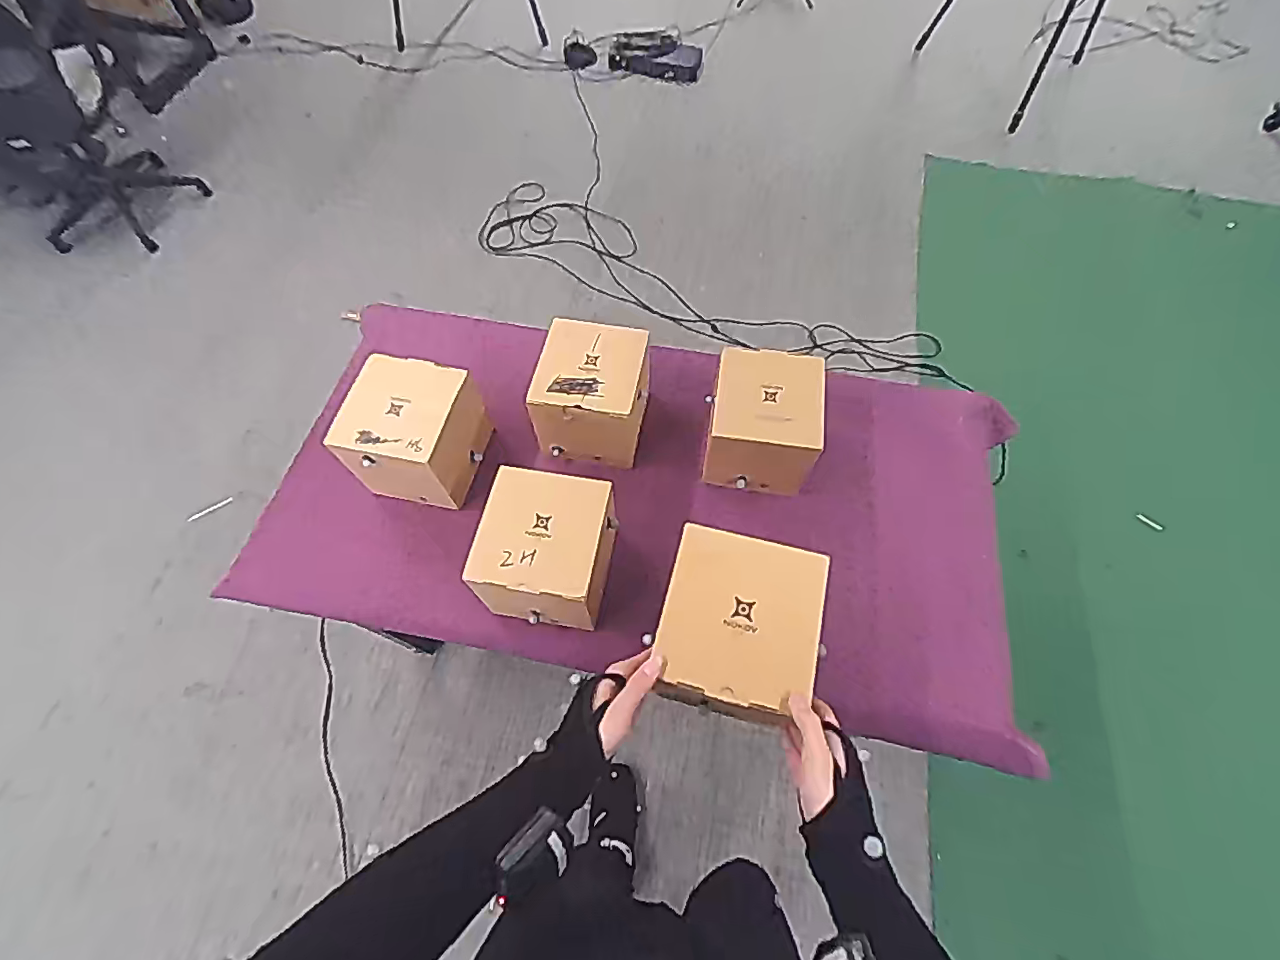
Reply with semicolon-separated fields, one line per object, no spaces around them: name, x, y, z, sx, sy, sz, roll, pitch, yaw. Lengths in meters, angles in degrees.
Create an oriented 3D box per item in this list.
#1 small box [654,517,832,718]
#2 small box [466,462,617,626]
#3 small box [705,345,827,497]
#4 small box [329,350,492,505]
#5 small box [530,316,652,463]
small box;0.114;0.171;0.649;0.168;0.176;0.179;14;66;8
small box;-0.131;0.099;0.800;0.168;0.176;0.179;10;62;5
small box;0.204;-0.094;0.903;0.168;0.176;0.179;9;64;6
small box;-0.360;-0.082;0.892;0.168;0.176;0.179;11;63;7
small box;-0.074;-0.148;0.929;0.168;0.176;0.179;10;63;5
